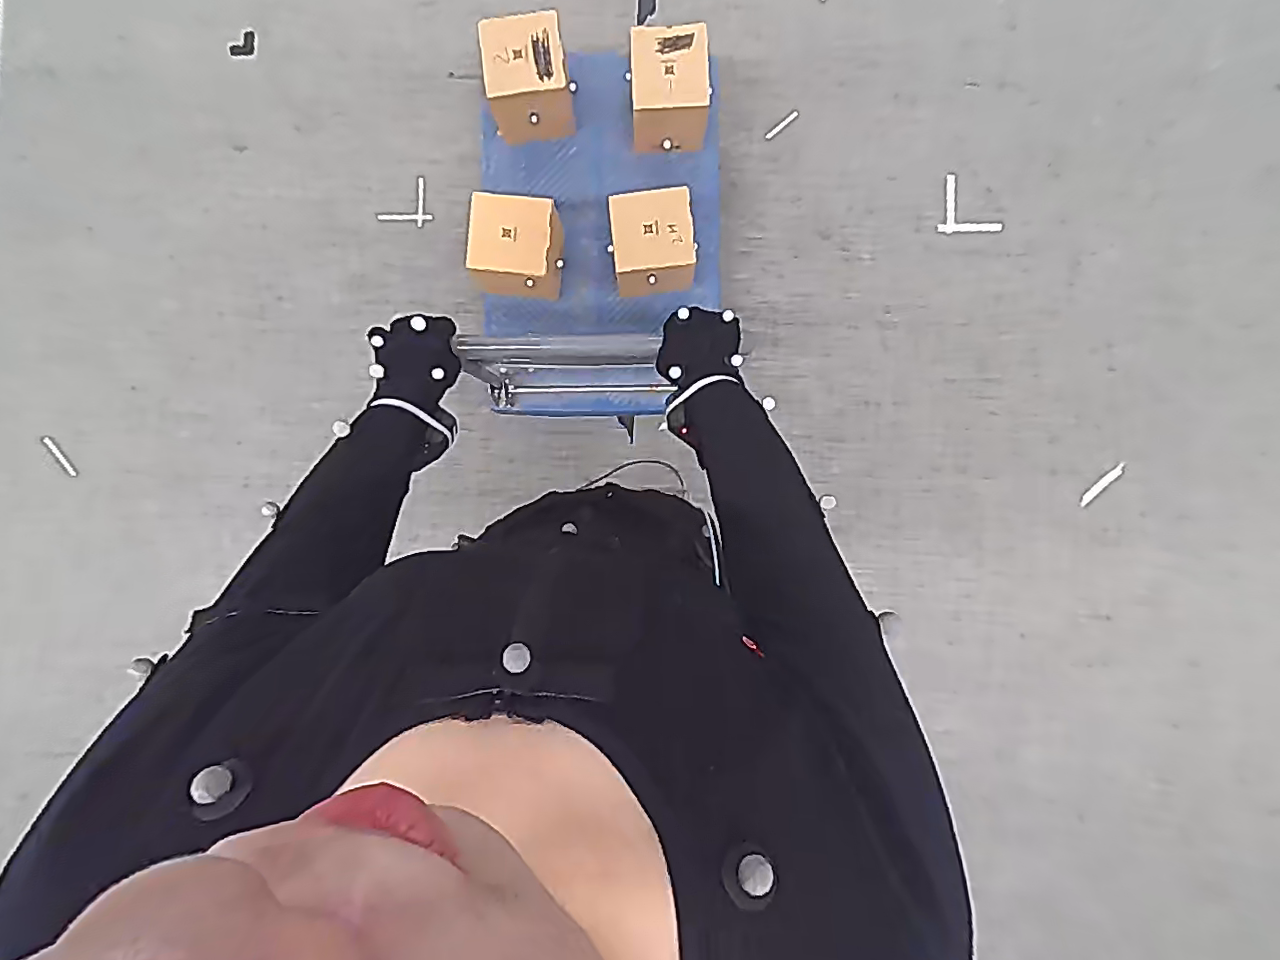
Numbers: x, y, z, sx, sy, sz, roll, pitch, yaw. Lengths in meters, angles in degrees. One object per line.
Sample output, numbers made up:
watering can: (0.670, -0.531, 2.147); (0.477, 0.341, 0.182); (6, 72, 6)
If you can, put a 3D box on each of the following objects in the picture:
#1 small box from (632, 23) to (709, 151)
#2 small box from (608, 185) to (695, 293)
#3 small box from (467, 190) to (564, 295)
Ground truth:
small box: (0.065, -0.884, 1.229); (0.168, 0.176, 0.179); (-2, 92, 1)
small box: (0.028, -0.540, 1.235); (0.179, 0.176, 0.168); (-6, 91, 2)
small box: (-0.279, -0.537, 1.243); (0.179, 0.176, 0.168); (5, 91, 0)
